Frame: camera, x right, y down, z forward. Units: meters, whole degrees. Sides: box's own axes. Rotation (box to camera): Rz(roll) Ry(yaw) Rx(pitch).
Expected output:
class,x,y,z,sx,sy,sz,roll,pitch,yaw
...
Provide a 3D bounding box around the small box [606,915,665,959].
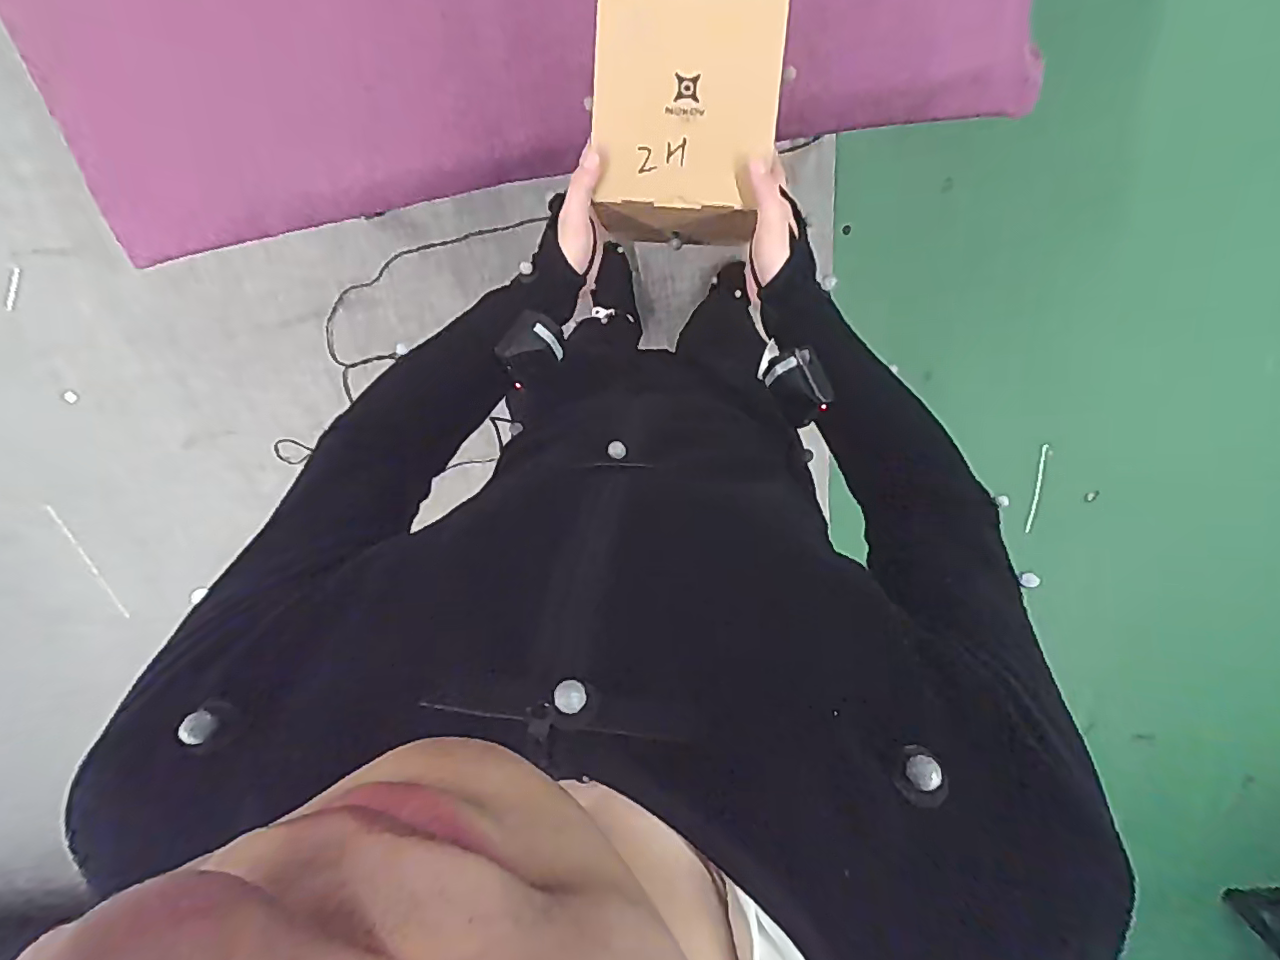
class,x,y,z,sx,sy,sz,roll,pitch,yaw
small box,-0.014,1.518,1.718,0.168,0.176,0.179,-9,114,6

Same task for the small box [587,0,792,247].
class,x,y,z,sx,sy,sz,roll,pitch,yaw
small box,0.045,-0.352,0.549,0.168,0.176,0.179,5,103,4
